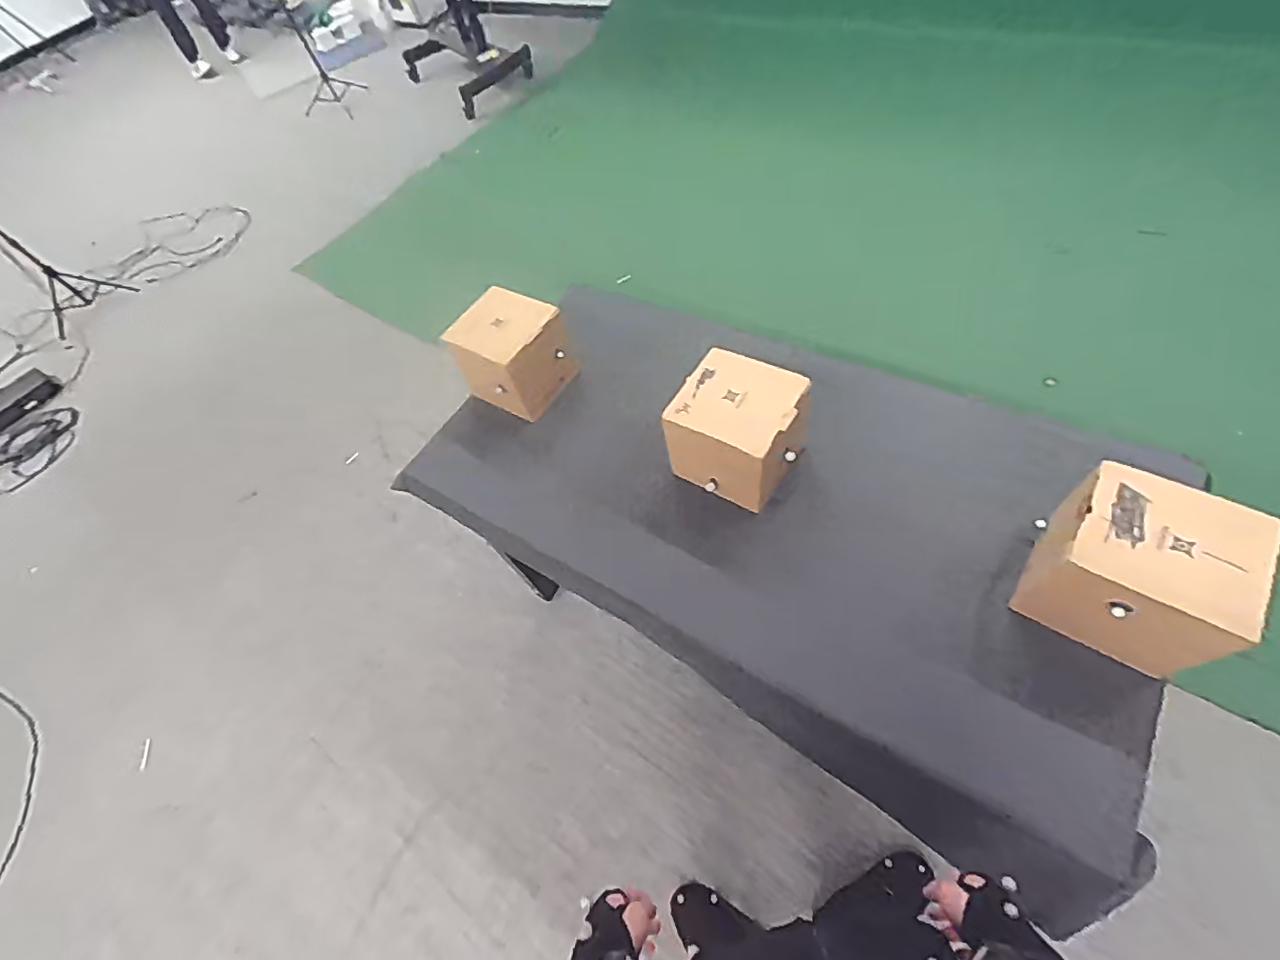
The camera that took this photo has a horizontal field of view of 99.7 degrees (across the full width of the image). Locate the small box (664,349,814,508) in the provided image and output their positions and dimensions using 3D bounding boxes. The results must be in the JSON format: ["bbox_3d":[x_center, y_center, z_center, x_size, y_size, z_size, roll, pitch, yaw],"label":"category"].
[{"bbox_3d":[0.159,-0.078,0.888,0.179,0.176,0.168,27,64,22],"label":"small box"}]

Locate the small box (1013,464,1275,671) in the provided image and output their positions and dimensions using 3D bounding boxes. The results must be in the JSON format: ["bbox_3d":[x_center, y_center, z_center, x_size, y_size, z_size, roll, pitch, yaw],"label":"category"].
[{"bbox_3d":[0.621,0.117,0.689,0.179,0.176,0.168,28,65,23],"label":"small box"}]

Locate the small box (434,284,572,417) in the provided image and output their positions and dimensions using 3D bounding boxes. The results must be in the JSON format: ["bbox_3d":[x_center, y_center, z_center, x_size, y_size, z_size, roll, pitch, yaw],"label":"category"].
[{"bbox_3d":[-0.256,-0.249,1.061,0.179,0.176,0.168,24,62,23],"label":"small box"}]
